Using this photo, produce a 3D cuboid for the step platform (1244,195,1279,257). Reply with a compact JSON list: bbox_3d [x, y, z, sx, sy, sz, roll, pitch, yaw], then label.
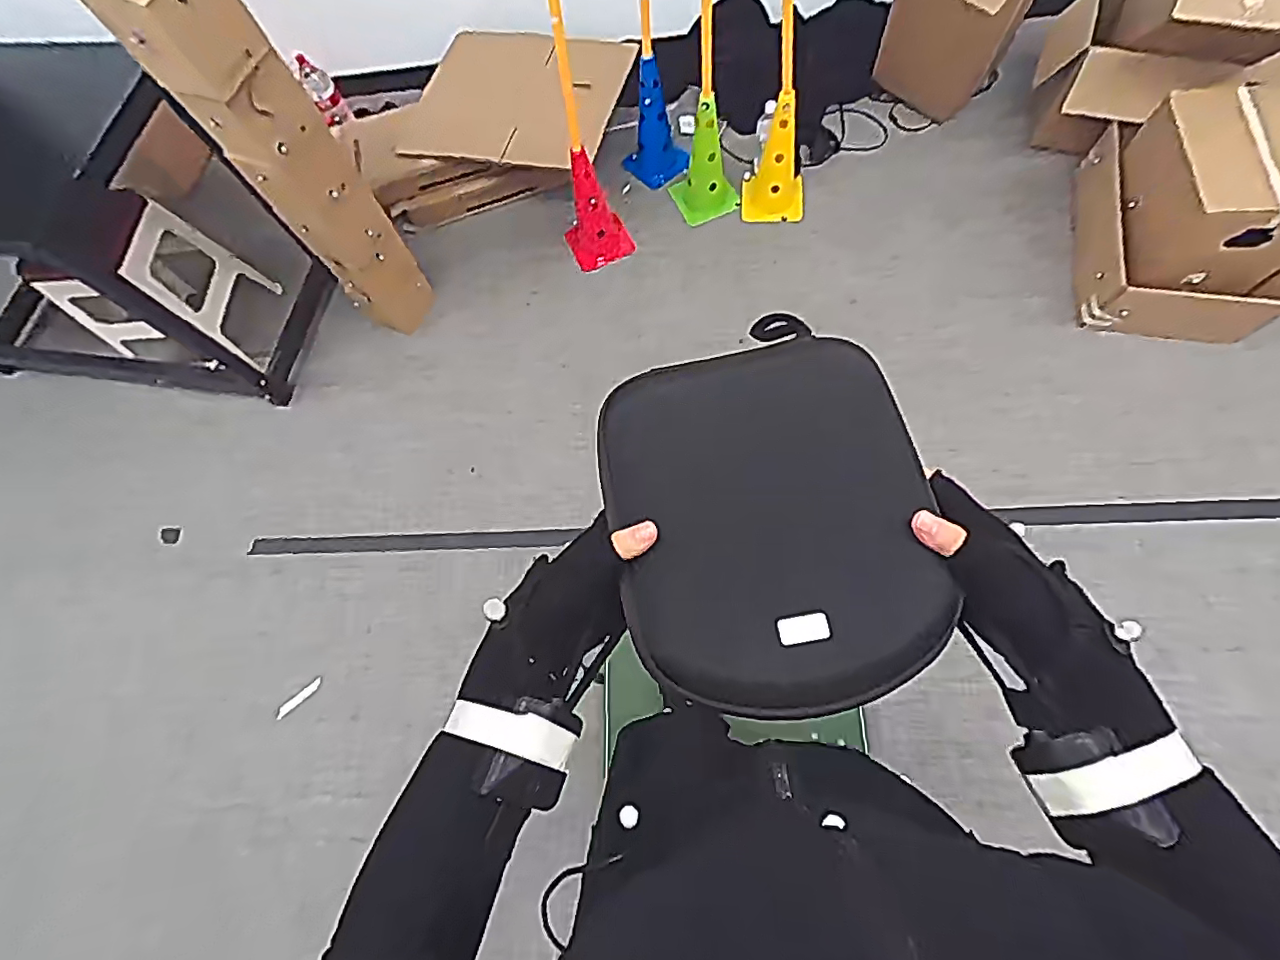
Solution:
[{"bbox_3d":[2.150,-0.842,1.527,0.684,0.204,0.286,-30,70,-4],"label":"step platform"}]
